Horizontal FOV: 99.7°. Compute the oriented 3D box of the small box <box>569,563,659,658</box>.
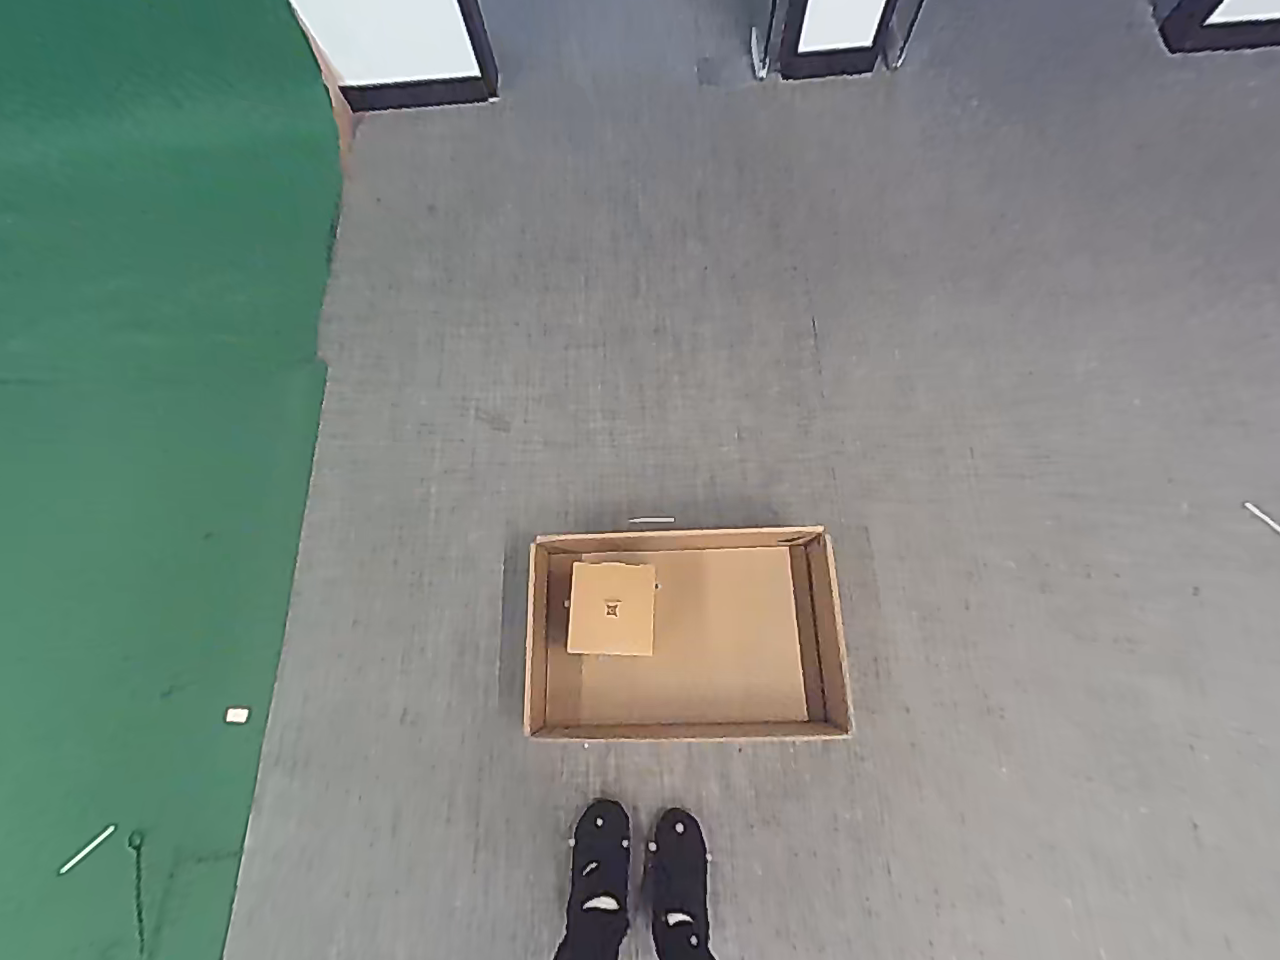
[{"bbox_3d":[-0.046,0.274,1.124,0.168,0.176,0.179,2,73,3],"label":"small box"}]
